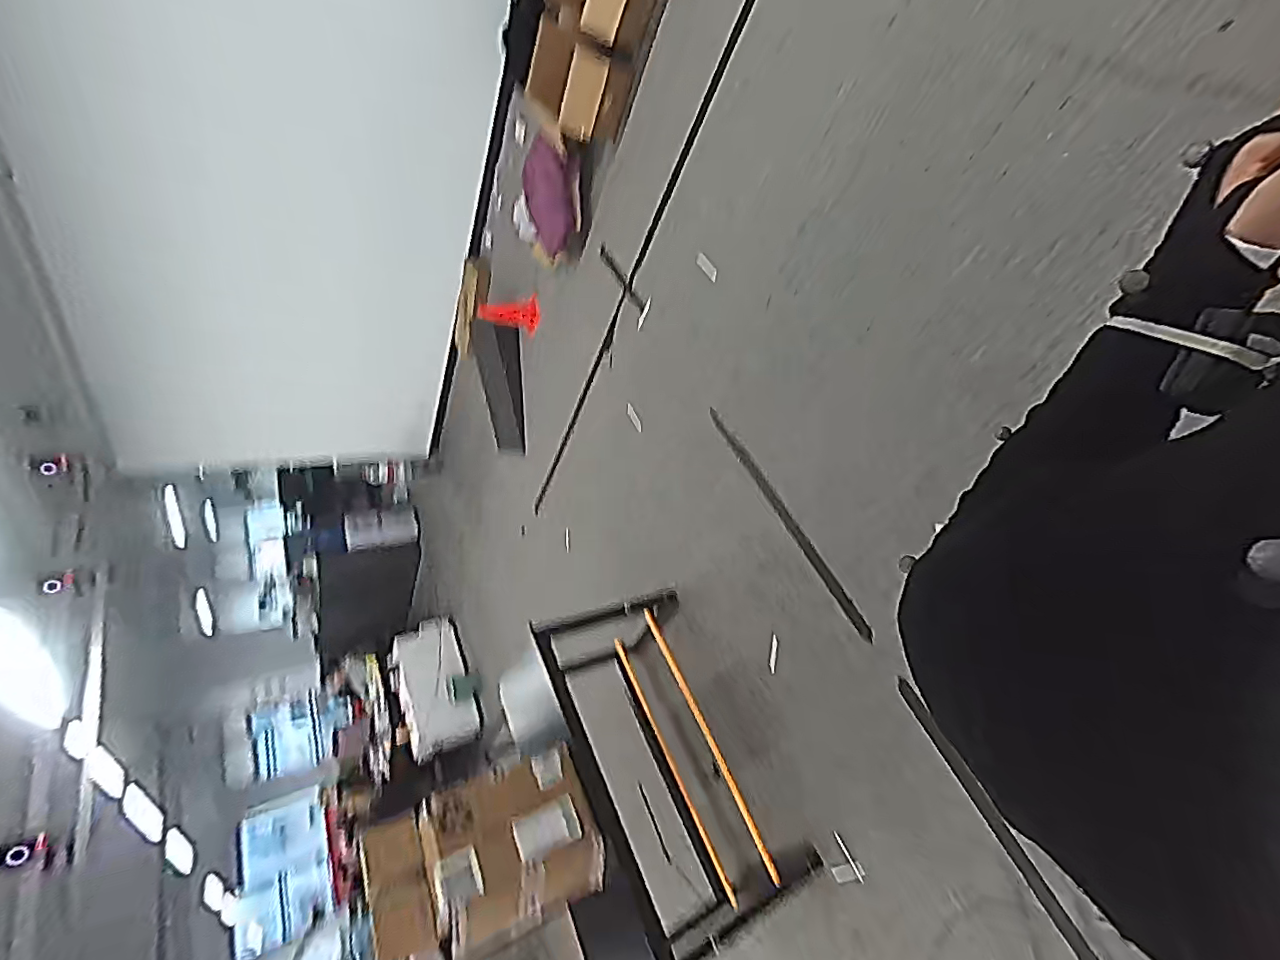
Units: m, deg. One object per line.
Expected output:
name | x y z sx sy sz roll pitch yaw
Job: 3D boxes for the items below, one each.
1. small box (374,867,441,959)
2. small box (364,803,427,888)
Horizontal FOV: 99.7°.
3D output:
small box | -0.732 1.366 1.706 0.168 0.176 0.179 57 140 34
small box | -0.817 1.217 1.809 0.168 0.176 0.179 60 140 35
